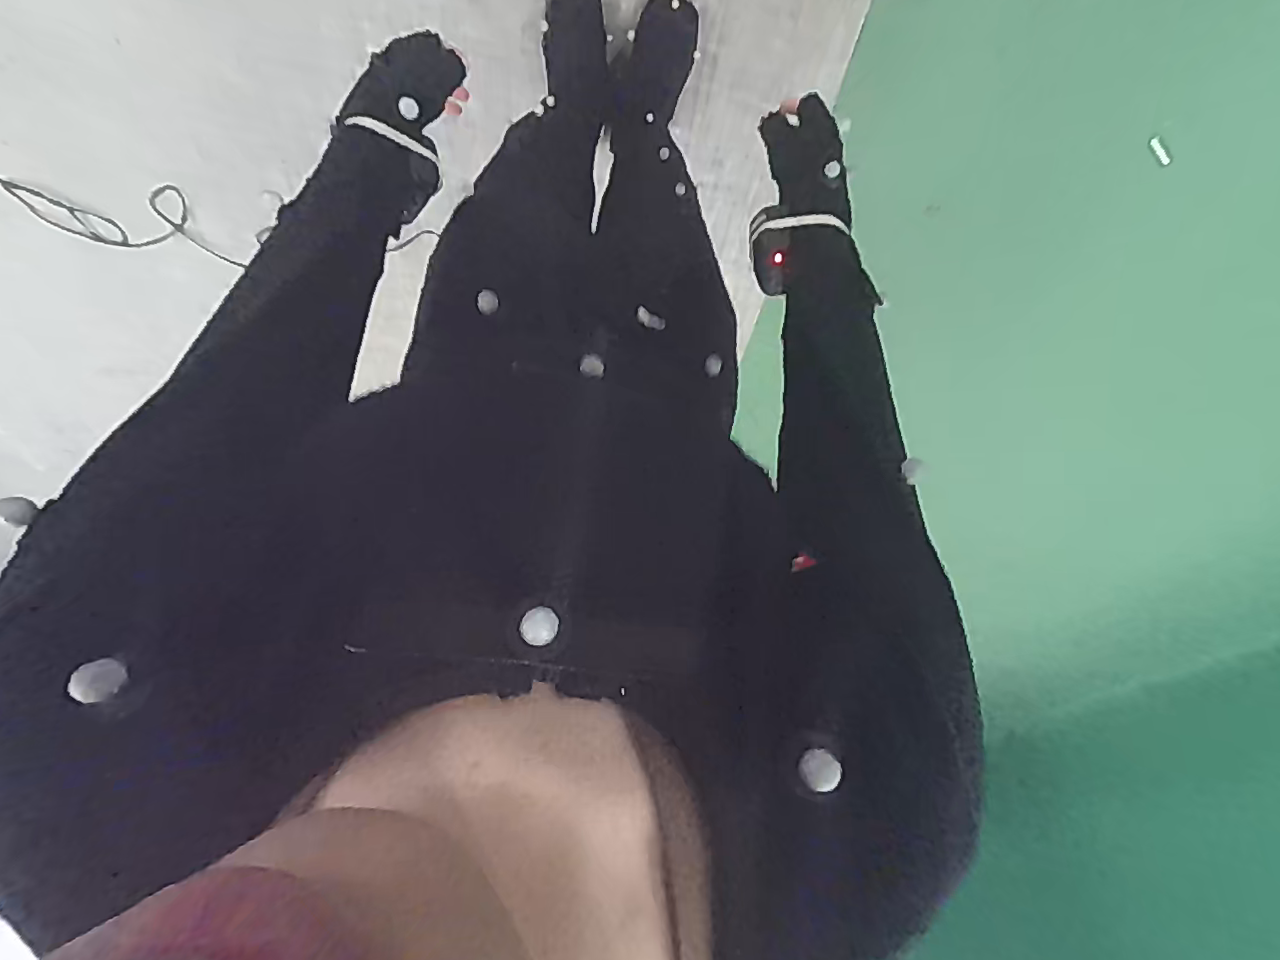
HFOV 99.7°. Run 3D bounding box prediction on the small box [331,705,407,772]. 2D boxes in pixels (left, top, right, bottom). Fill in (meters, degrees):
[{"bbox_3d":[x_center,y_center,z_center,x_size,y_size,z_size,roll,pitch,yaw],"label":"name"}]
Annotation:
[{"bbox_3d":[-0.919,0.889,1.856,0.168,0.176,0.179,5,141,-4],"label":"small box"}]
